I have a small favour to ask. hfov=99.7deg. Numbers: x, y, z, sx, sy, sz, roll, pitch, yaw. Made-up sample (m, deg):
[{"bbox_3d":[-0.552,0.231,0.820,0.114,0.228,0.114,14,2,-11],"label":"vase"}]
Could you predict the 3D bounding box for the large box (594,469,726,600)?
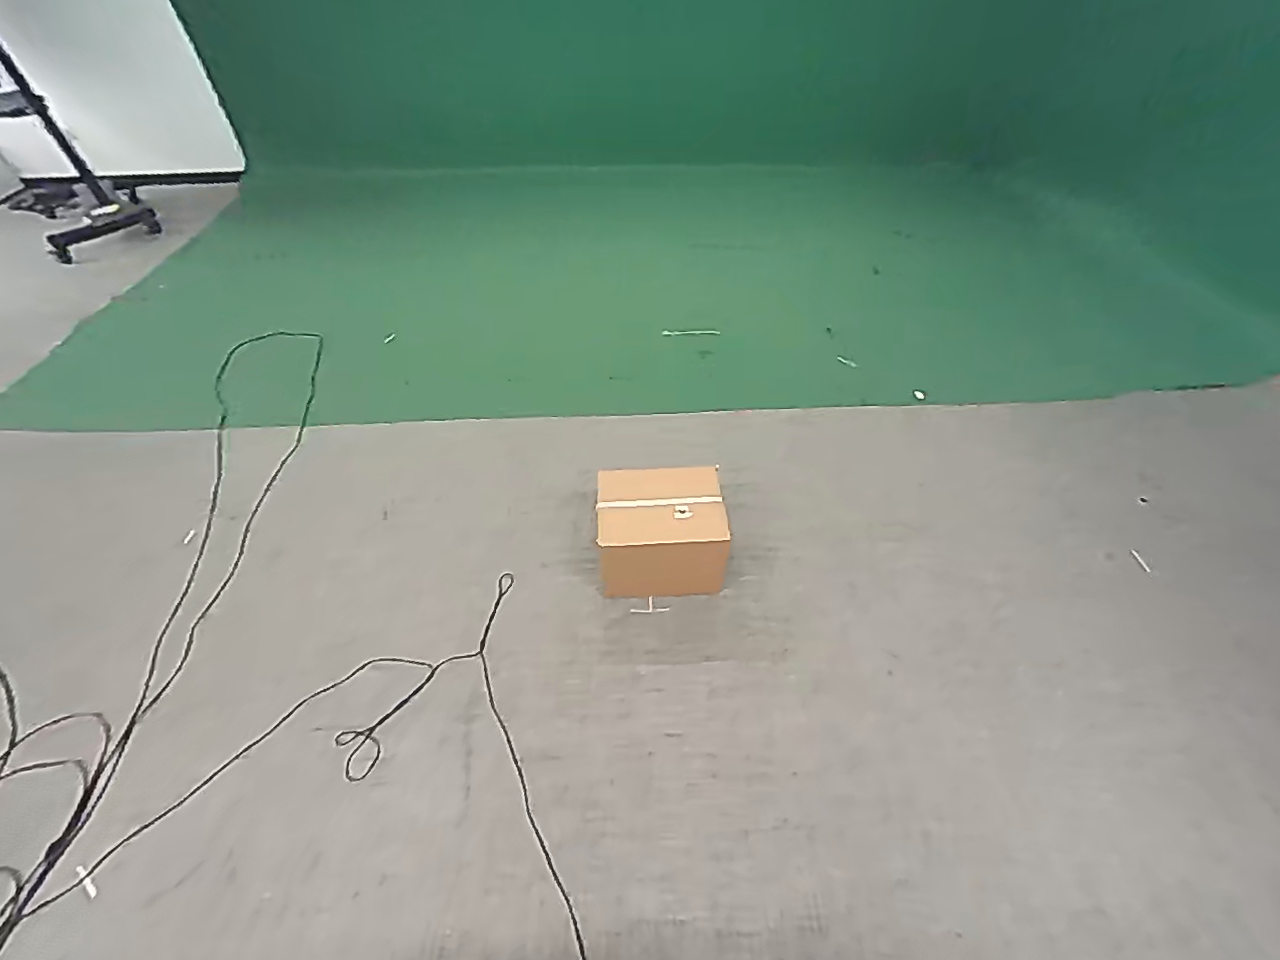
[{"bbox_3d":[0.054,0.188,1.855,0.408,0.320,0.320,-3,47,-3],"label":"large box"}]
